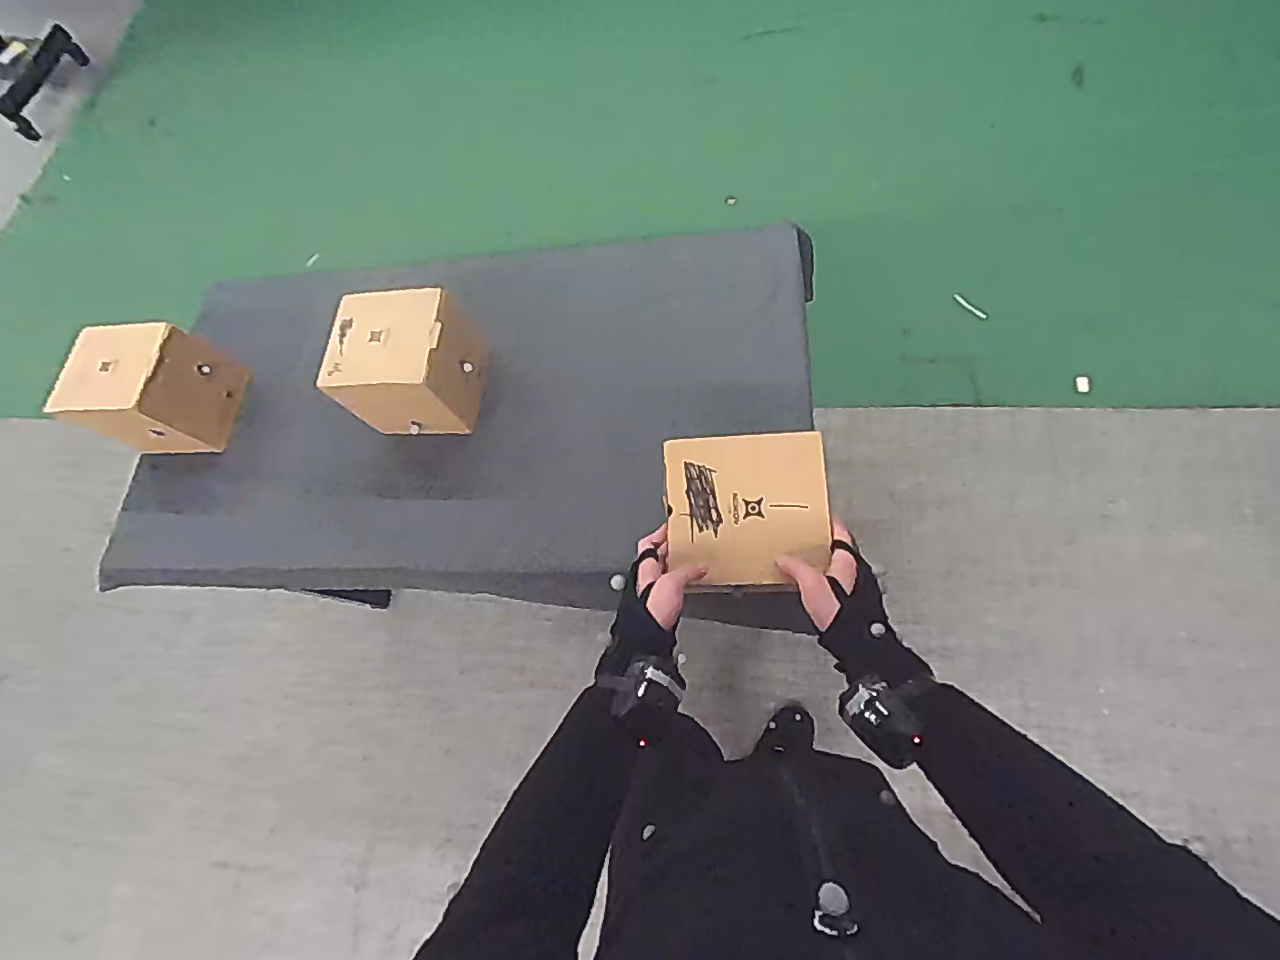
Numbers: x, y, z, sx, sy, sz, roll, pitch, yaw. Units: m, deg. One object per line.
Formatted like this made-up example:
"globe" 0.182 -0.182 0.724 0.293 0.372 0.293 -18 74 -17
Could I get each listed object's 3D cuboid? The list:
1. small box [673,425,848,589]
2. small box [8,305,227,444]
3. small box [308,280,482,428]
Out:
"small box" 0.133 0.042 0.647 0.179 0.176 0.168 -2 75 6
"small box" -0.847 -0.168 0.900 0.179 0.176 0.168 -1 67 7
"small box" -0.368 -0.191 0.851 0.179 0.176 0.168 1 69 7
